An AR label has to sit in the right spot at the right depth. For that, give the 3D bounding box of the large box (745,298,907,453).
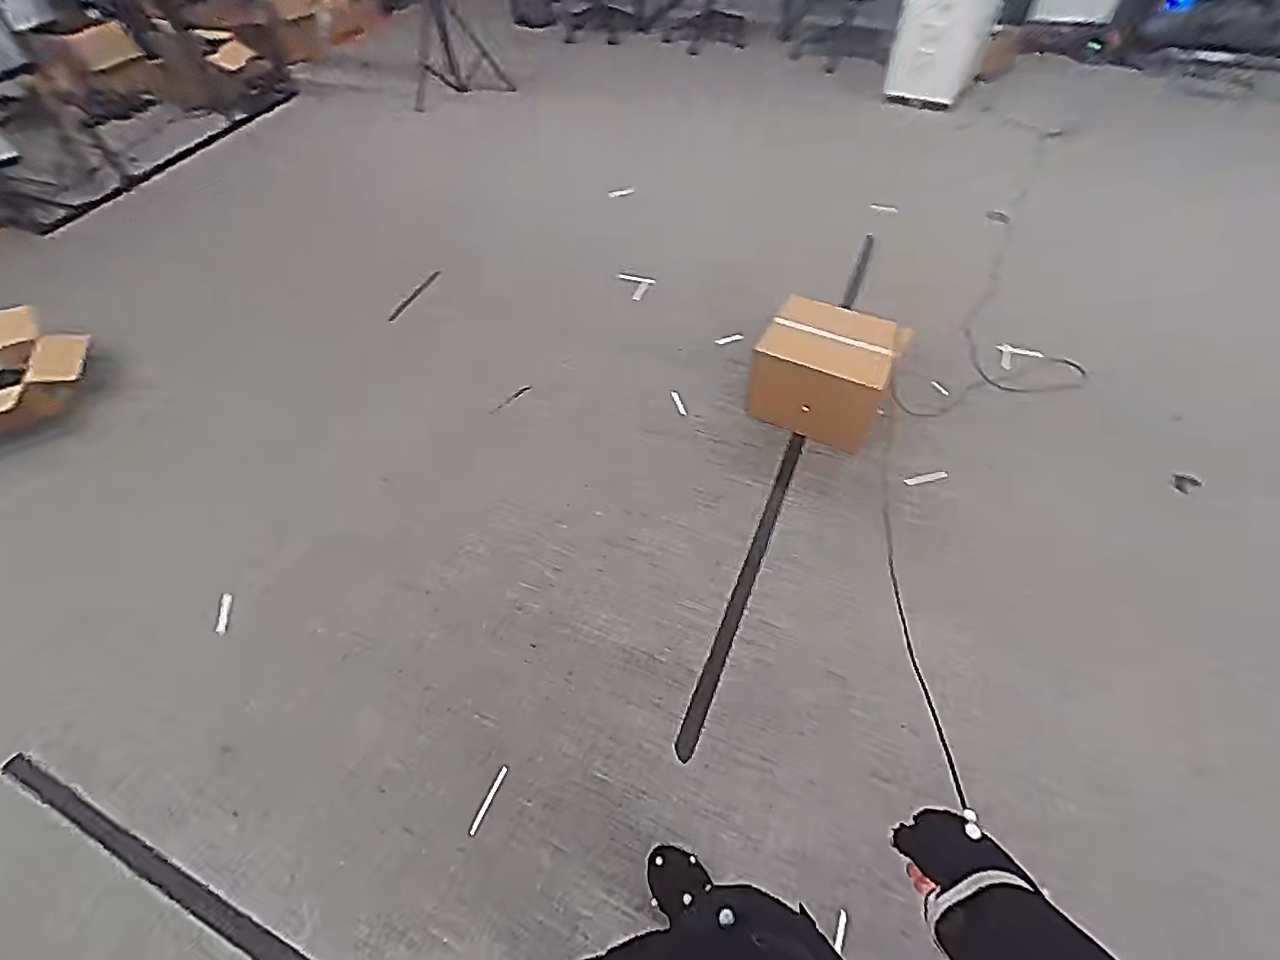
[{"bbox_3d":[0.607,-0.353,1.823,0.408,0.320,0.320,24,61,20],"label":"large box"}]
